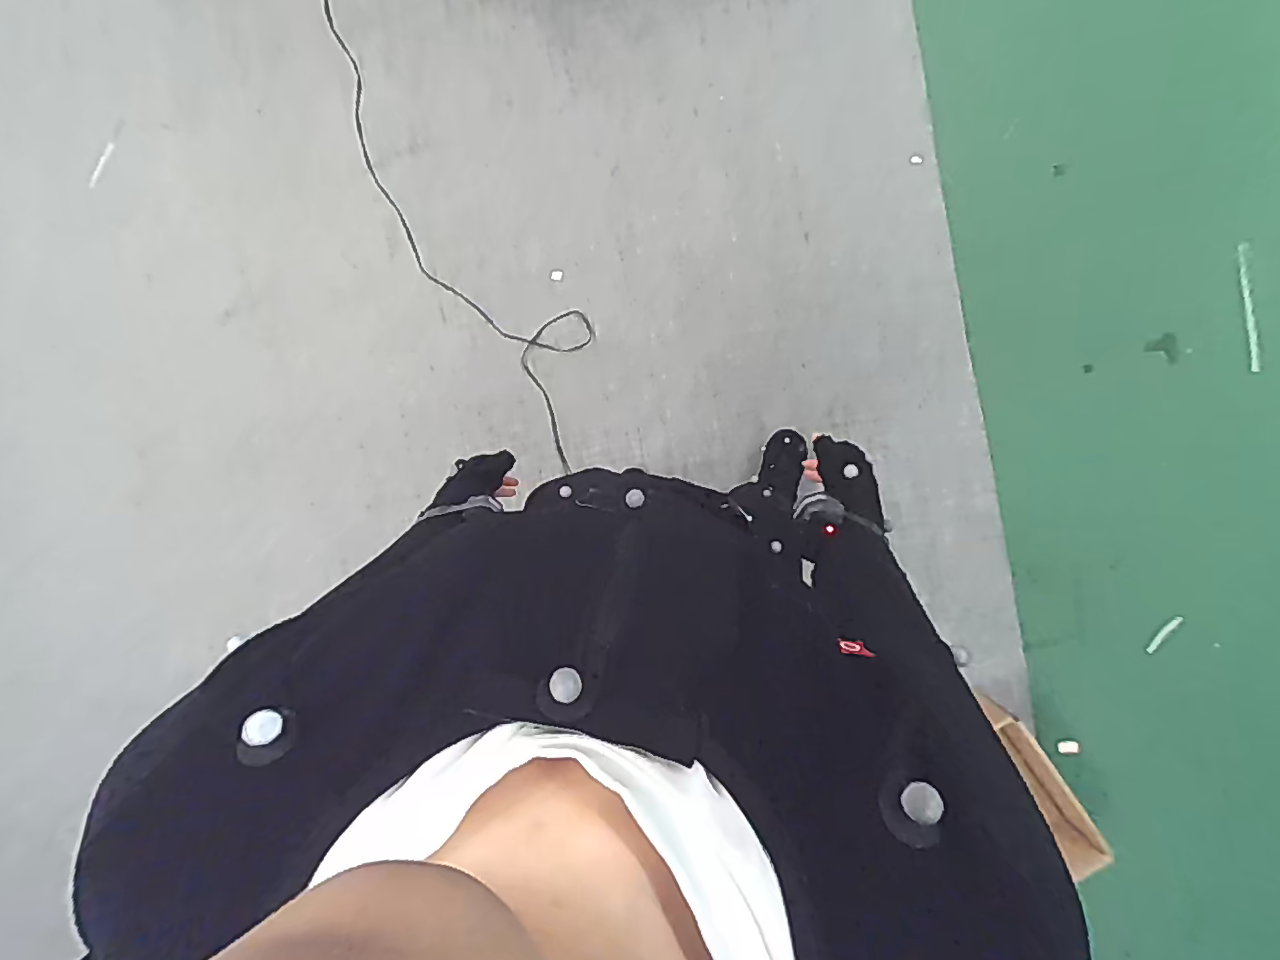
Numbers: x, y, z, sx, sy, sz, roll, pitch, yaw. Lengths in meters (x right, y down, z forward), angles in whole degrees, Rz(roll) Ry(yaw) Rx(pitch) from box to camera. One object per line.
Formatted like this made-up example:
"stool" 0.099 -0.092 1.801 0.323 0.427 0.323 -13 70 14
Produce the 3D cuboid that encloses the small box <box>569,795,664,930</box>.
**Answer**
"small box" -0.042 0.773 1.108 0.179 0.176 0.168 -3 92 4
